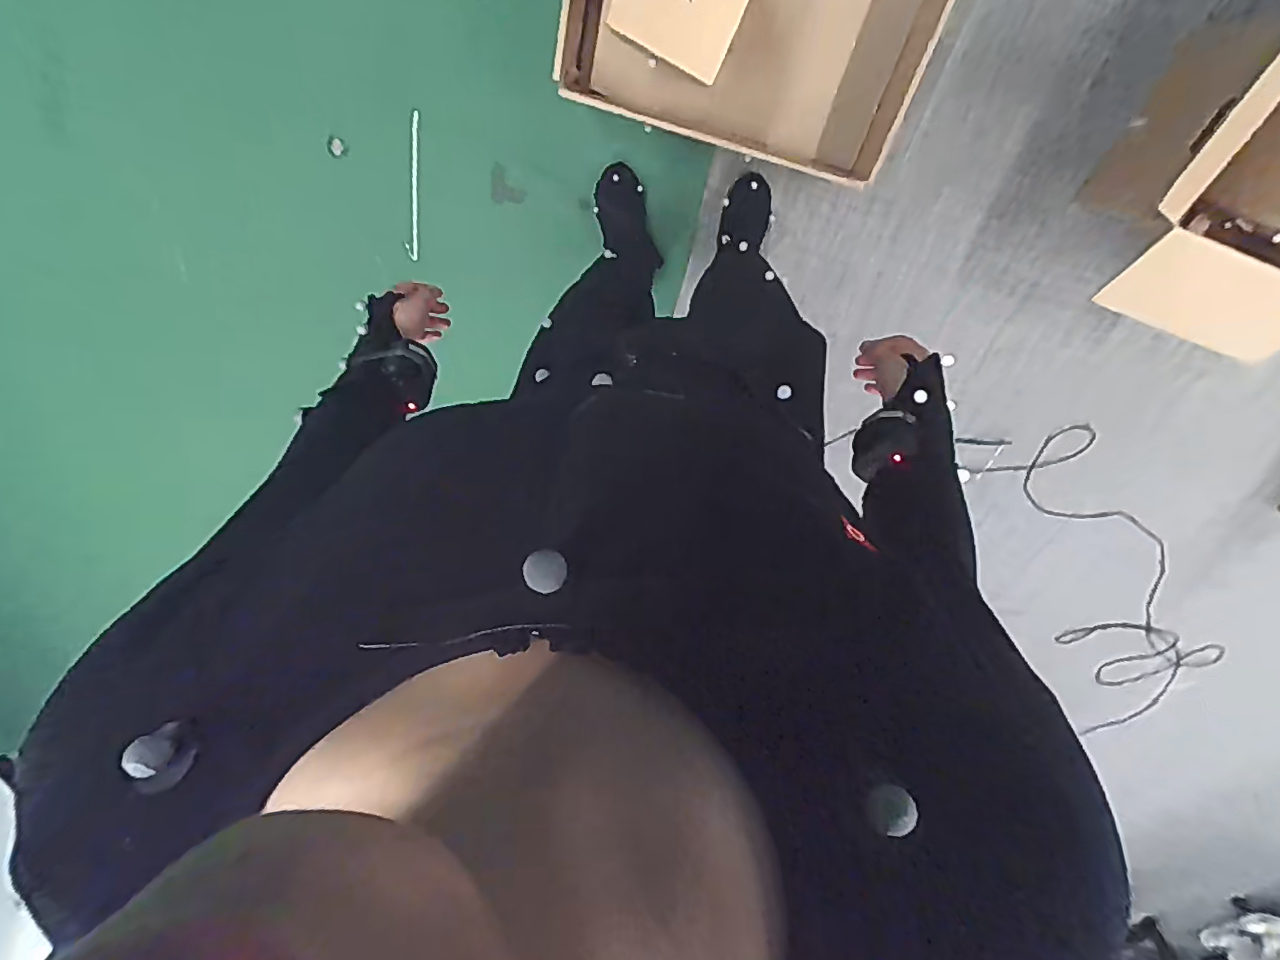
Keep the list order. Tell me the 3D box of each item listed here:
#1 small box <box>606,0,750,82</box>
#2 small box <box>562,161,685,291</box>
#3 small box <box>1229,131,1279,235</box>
[{"bbox_3d":[0.067,-0.725,0.801,0.179,0.176,0.168,22,123,-11],"label":"small box"},{"bbox_3d":[-0.028,-0.546,1.168,0.176,0.168,0.179,26,102,-47],"label":"small box"},{"bbox_3d":[1.160,-0.508,0.897,0.168,0.176,0.179,19,125,-13],"label":"small box"}]
